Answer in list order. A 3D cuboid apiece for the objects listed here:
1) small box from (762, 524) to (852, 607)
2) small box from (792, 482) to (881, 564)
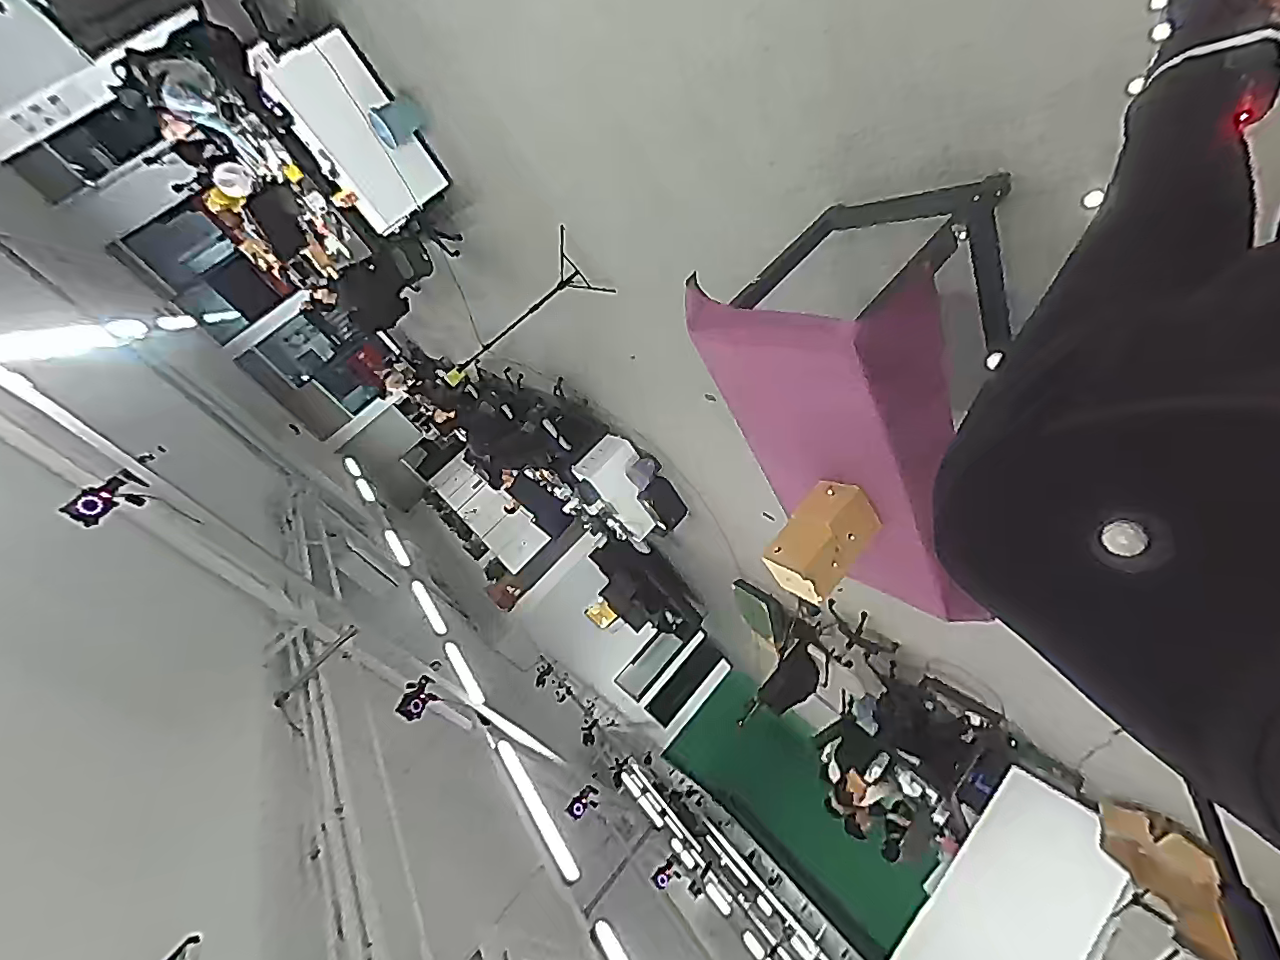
[{"bbox_3d":[0.525,0.260,1.696,0.168,0.176,0.179,51,164,-29],"label":"small box"},{"bbox_3d":[0.629,0.132,1.720,0.179,0.176,0.168,51,164,-23],"label":"small box"}]
